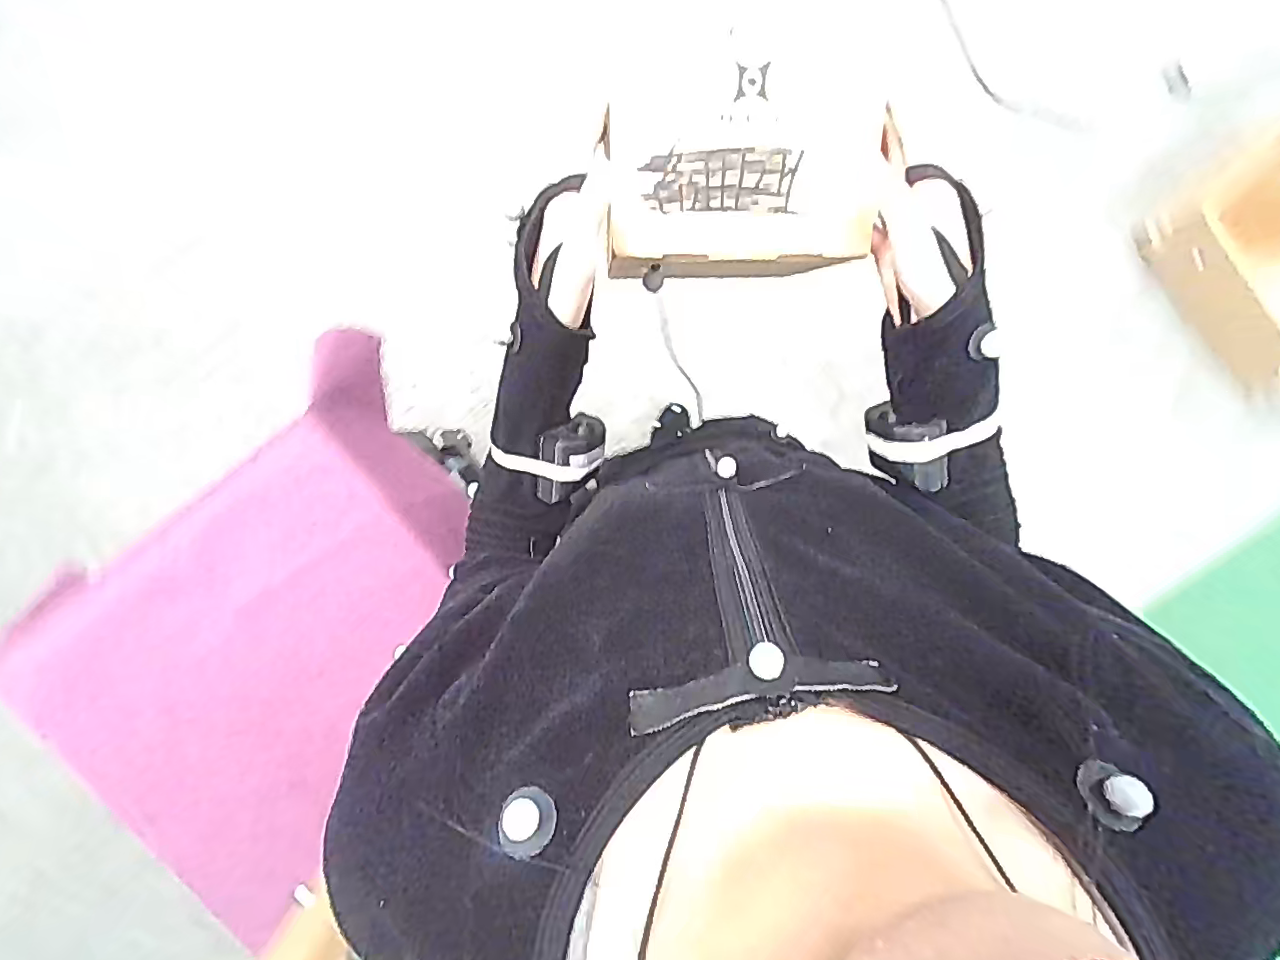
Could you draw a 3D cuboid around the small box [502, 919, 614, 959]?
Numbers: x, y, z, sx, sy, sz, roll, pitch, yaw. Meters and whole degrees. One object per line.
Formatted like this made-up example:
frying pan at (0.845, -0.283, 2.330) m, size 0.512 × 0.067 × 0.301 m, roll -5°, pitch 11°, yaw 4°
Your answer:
small box at (-0.124, 0.792, 0.778) m, size 0.168 × 0.176 × 0.179 m, roll -42°, pitch 95°, yaw 4°
